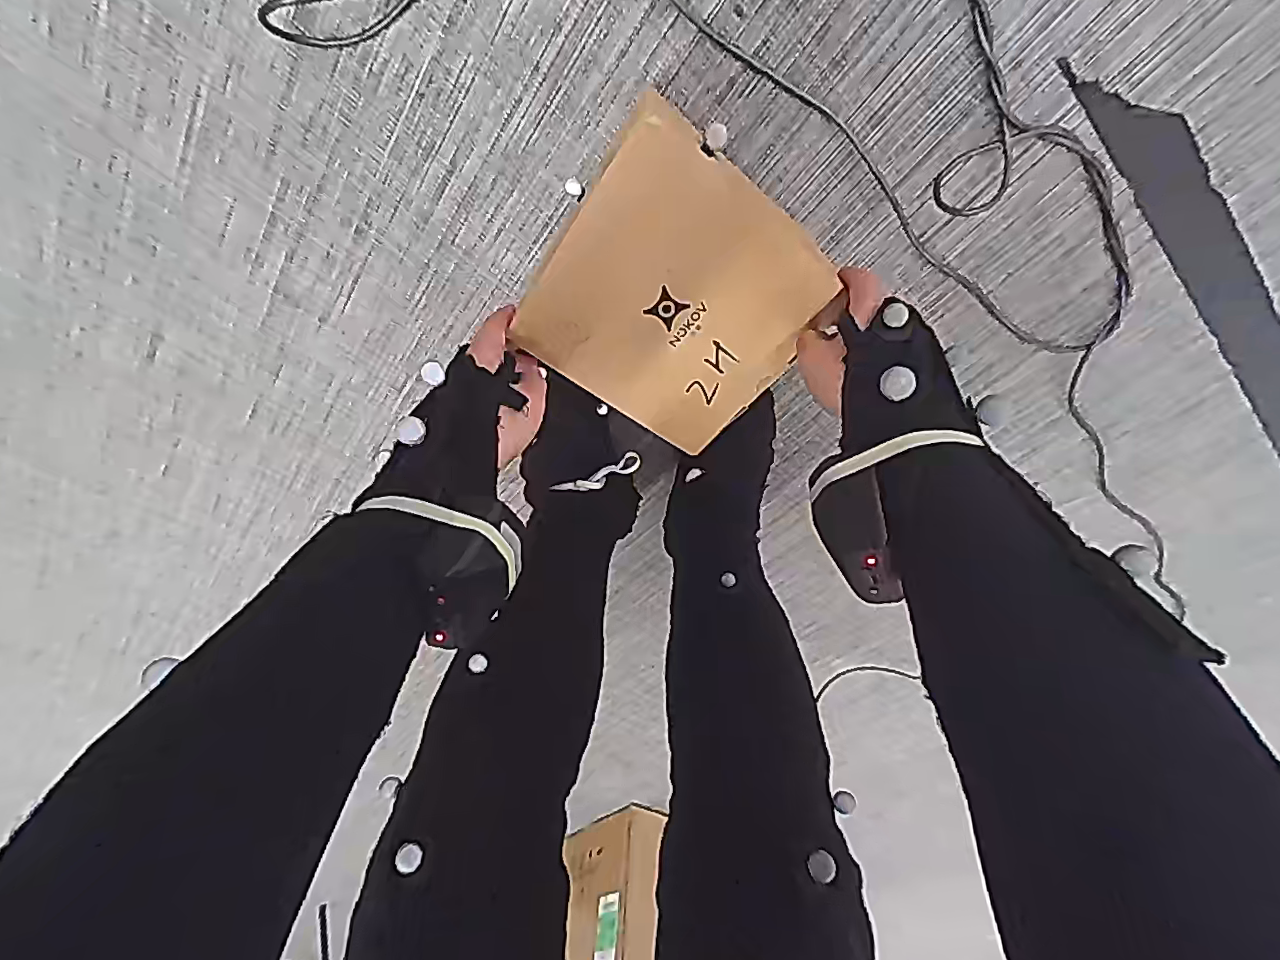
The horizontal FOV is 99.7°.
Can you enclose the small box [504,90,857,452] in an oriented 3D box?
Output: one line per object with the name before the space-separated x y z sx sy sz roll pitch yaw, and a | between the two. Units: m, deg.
small box | 0.025 -0.161 0.417 0.179 0.176 0.168 30 123 -22
